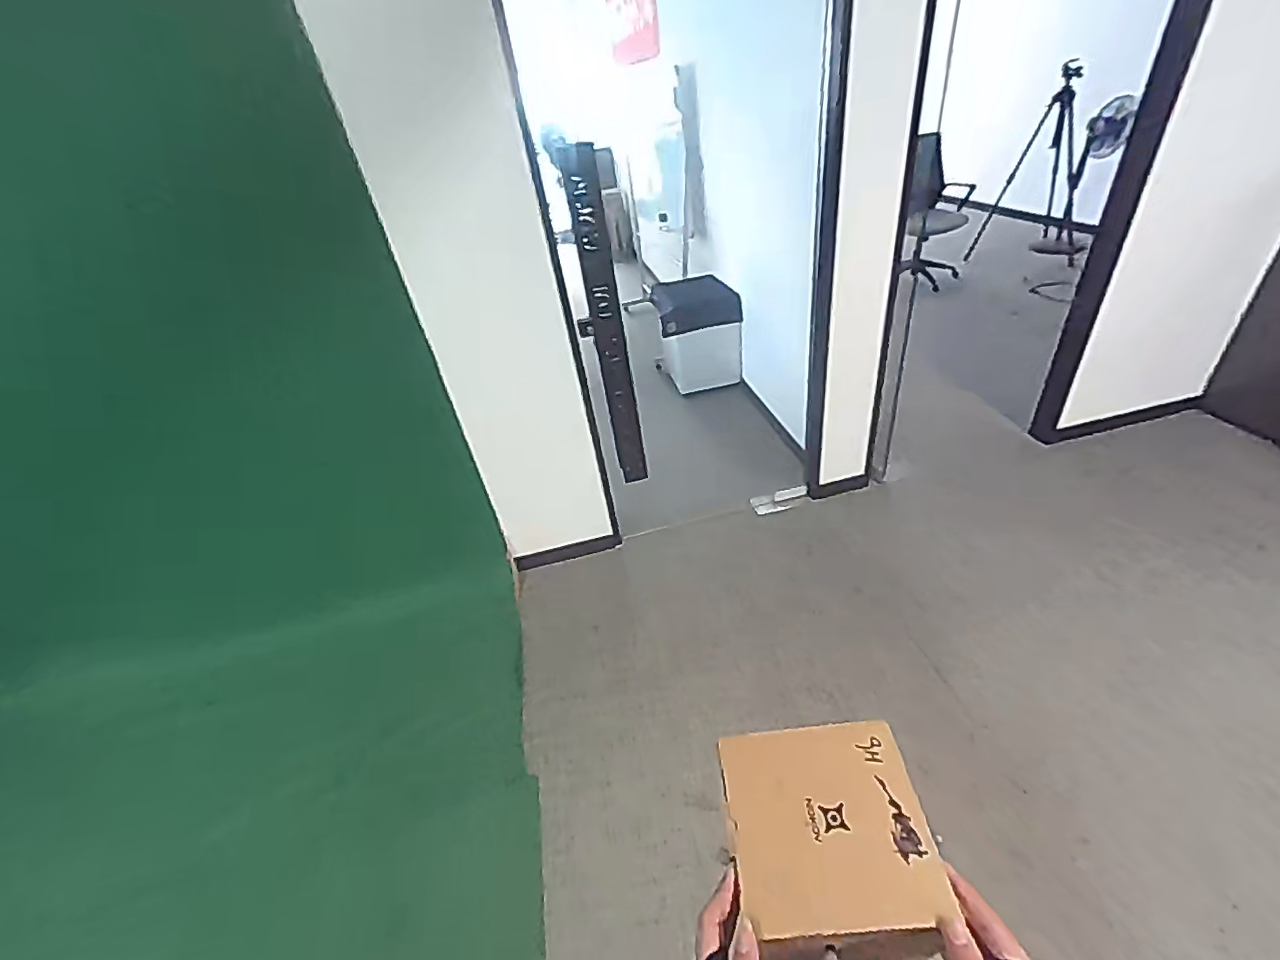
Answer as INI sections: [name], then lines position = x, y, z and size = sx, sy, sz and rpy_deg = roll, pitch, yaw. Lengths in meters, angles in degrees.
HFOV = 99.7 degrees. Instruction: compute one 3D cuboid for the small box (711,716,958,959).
[small box]
position = 0.173, 0.358, 0.530
size = 0.179, 0.176, 0.168
rpy_deg = -9, 40, 5
